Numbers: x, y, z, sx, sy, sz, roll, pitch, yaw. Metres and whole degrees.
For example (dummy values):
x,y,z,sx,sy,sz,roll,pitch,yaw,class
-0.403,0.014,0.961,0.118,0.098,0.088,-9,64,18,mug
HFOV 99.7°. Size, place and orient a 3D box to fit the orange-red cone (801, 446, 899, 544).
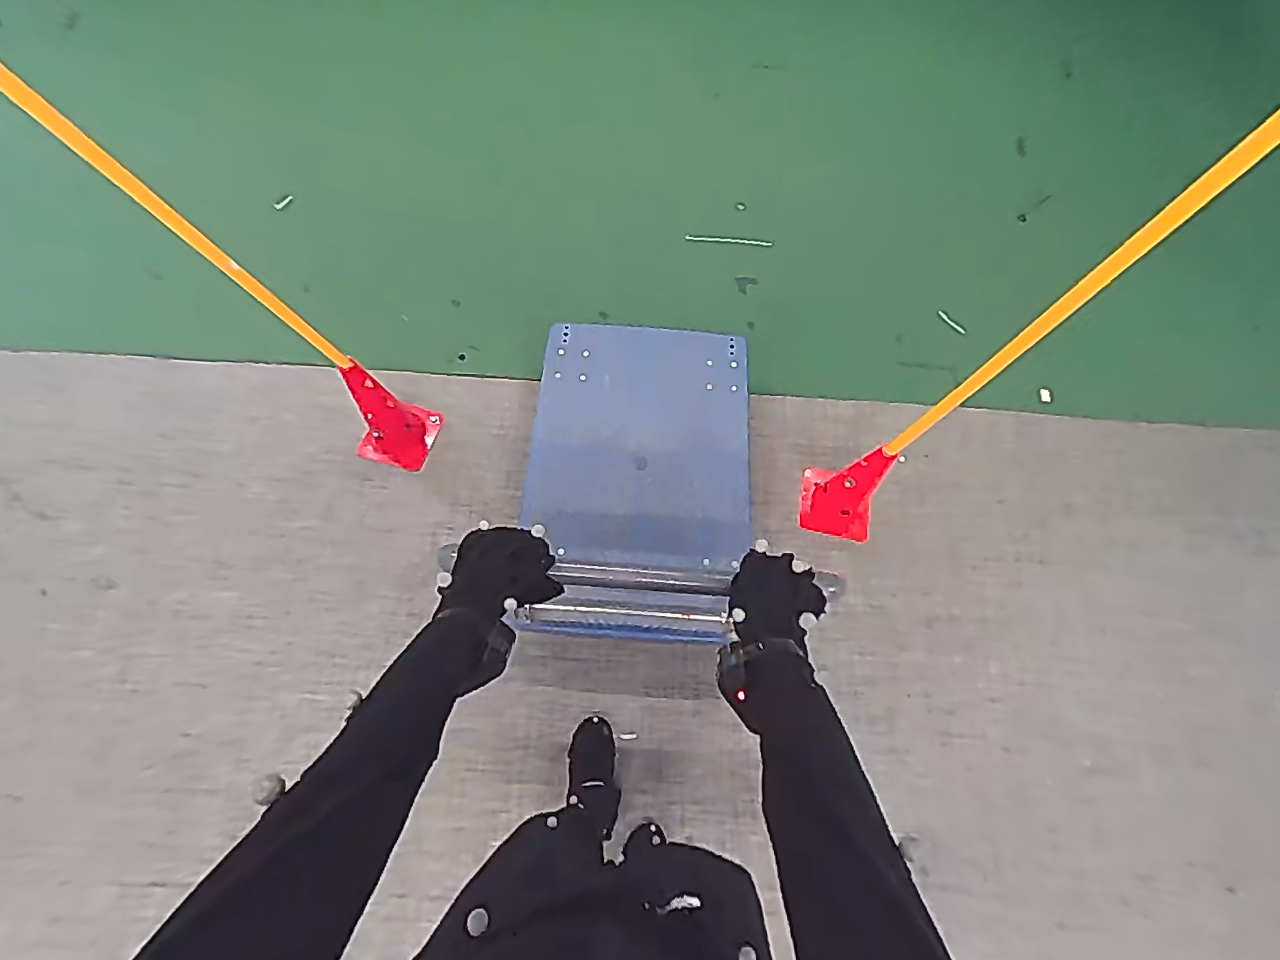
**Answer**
x,y,z,sx,sy,sz,roll,pitch,yaw,class
0.576,0.009,1.406,0.198,0.360,0.199,13,67,4,orange-red cone
